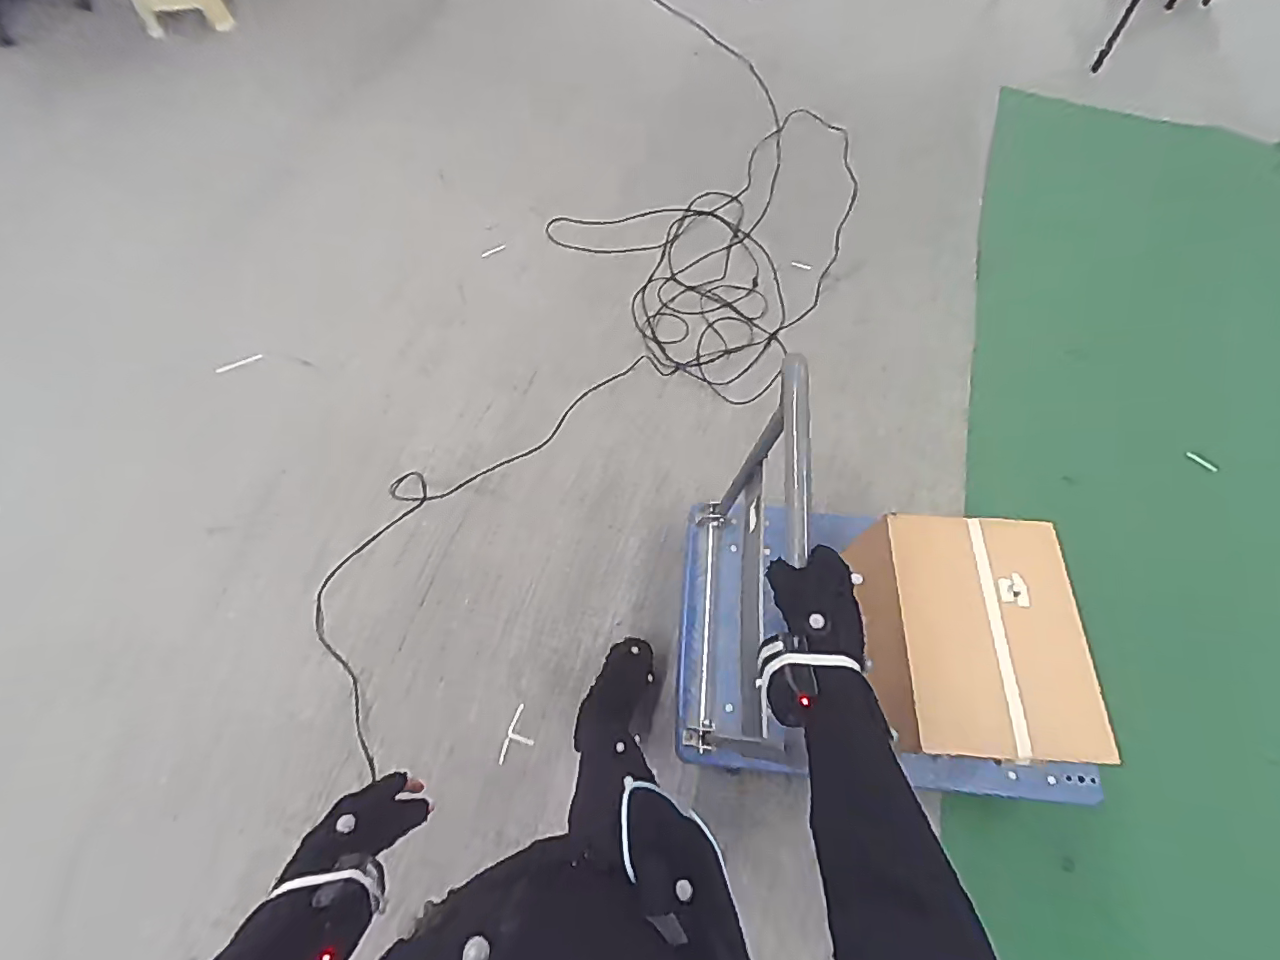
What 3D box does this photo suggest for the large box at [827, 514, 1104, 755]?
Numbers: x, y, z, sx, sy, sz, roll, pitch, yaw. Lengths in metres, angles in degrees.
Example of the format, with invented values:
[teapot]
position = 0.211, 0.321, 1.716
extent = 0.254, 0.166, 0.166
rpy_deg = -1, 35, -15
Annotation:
[large box]
position = 0.589, 0.317, 1.073
extent = 0.320, 0.320, 0.408
rpy_deg = 4, 64, -1
